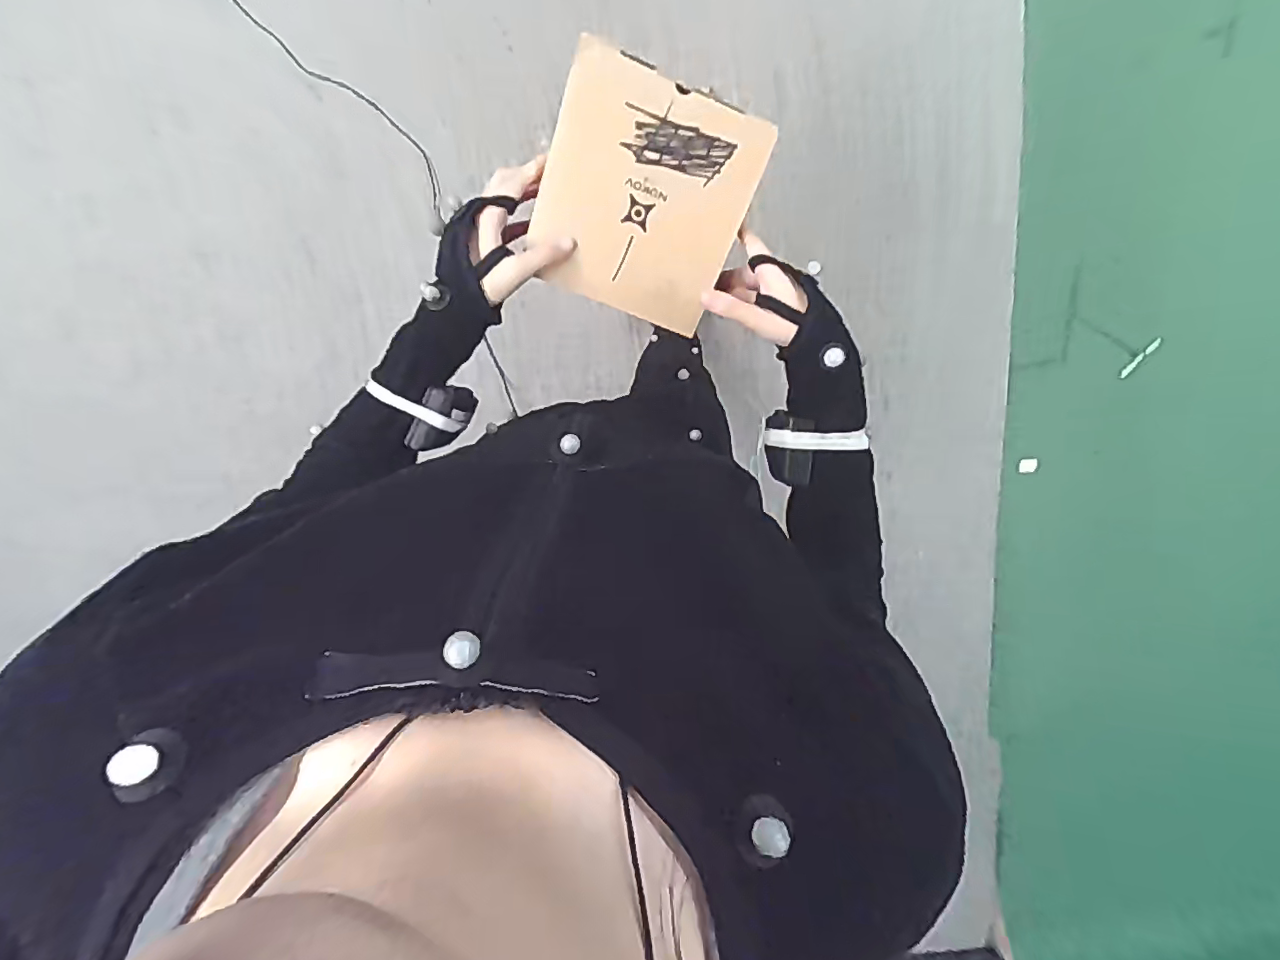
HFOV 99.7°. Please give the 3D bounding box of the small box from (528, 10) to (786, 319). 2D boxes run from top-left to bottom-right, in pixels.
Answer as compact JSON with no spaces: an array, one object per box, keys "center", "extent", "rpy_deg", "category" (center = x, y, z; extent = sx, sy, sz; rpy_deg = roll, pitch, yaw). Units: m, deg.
[{"center":[0.006,-0.277,0.508],"extent":[0.168,0.176,0.179],"rpy_deg":[17,115,-11],"category":"small box"}]
